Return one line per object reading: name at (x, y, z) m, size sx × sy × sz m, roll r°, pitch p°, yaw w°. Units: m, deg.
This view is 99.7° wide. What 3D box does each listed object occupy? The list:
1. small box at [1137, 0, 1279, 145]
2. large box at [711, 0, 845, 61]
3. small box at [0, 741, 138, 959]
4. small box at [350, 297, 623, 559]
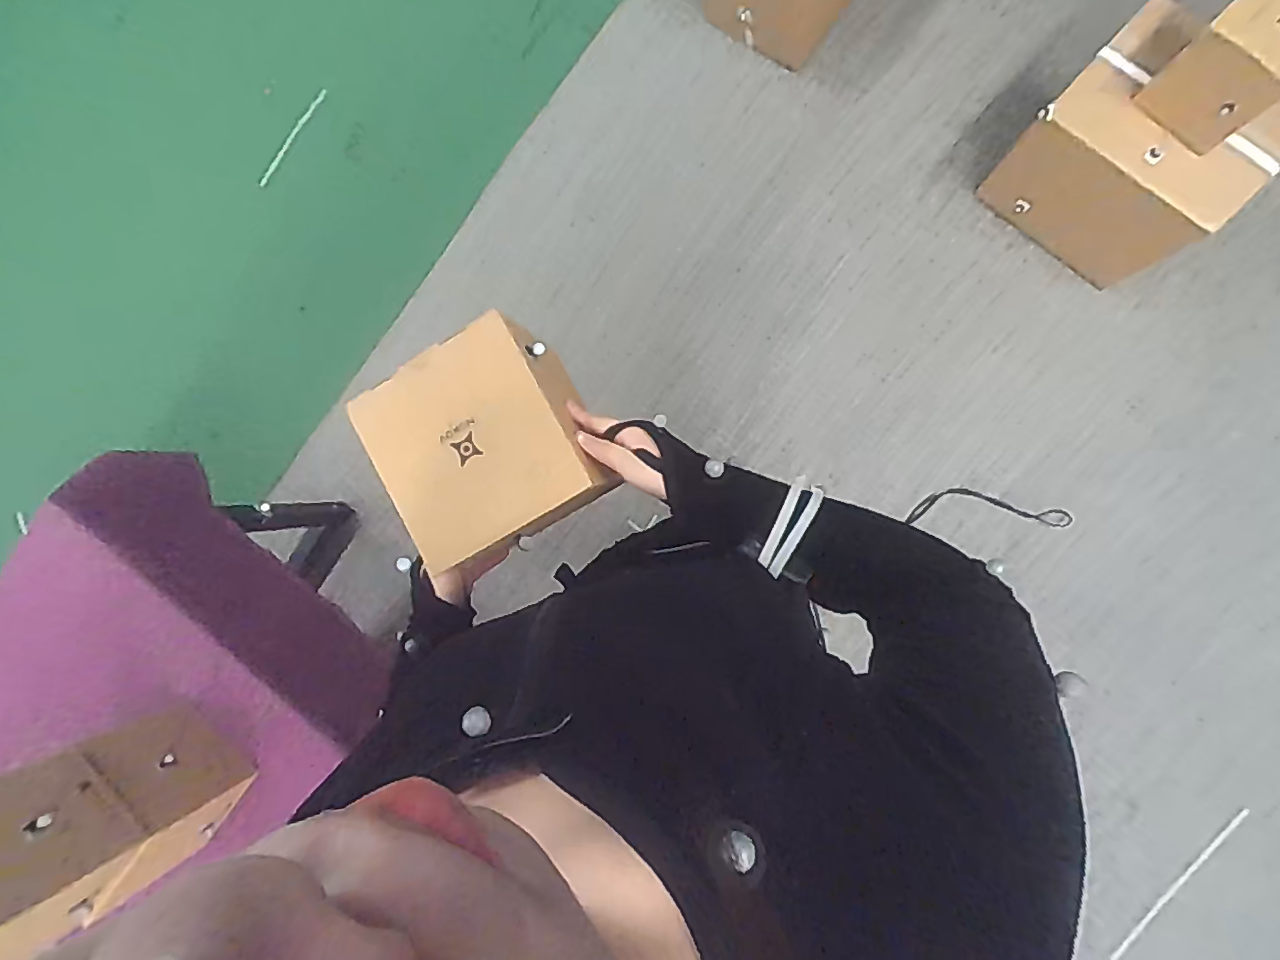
small box at (1.073, -0.746, 0.965) m, size 0.168 × 0.176 × 0.179 m, roll -43°, pitch 83°, yaw 3°
large box at (0.404, -1.372, 1.320) m, size 0.320 × 0.320 × 0.408 m, roll 38°, pitch 93°, yaw 8°
small box at (-0.760, 0.452, 0.638) m, size 0.168 × 0.176 × 0.179 m, roll 42°, pitch 95°, yaw 7°
small box at (-0.134, -0.045, 0.540) m, size 0.168 × 0.176 × 0.179 m, roll -29°, pitch 87°, yaw 8°
